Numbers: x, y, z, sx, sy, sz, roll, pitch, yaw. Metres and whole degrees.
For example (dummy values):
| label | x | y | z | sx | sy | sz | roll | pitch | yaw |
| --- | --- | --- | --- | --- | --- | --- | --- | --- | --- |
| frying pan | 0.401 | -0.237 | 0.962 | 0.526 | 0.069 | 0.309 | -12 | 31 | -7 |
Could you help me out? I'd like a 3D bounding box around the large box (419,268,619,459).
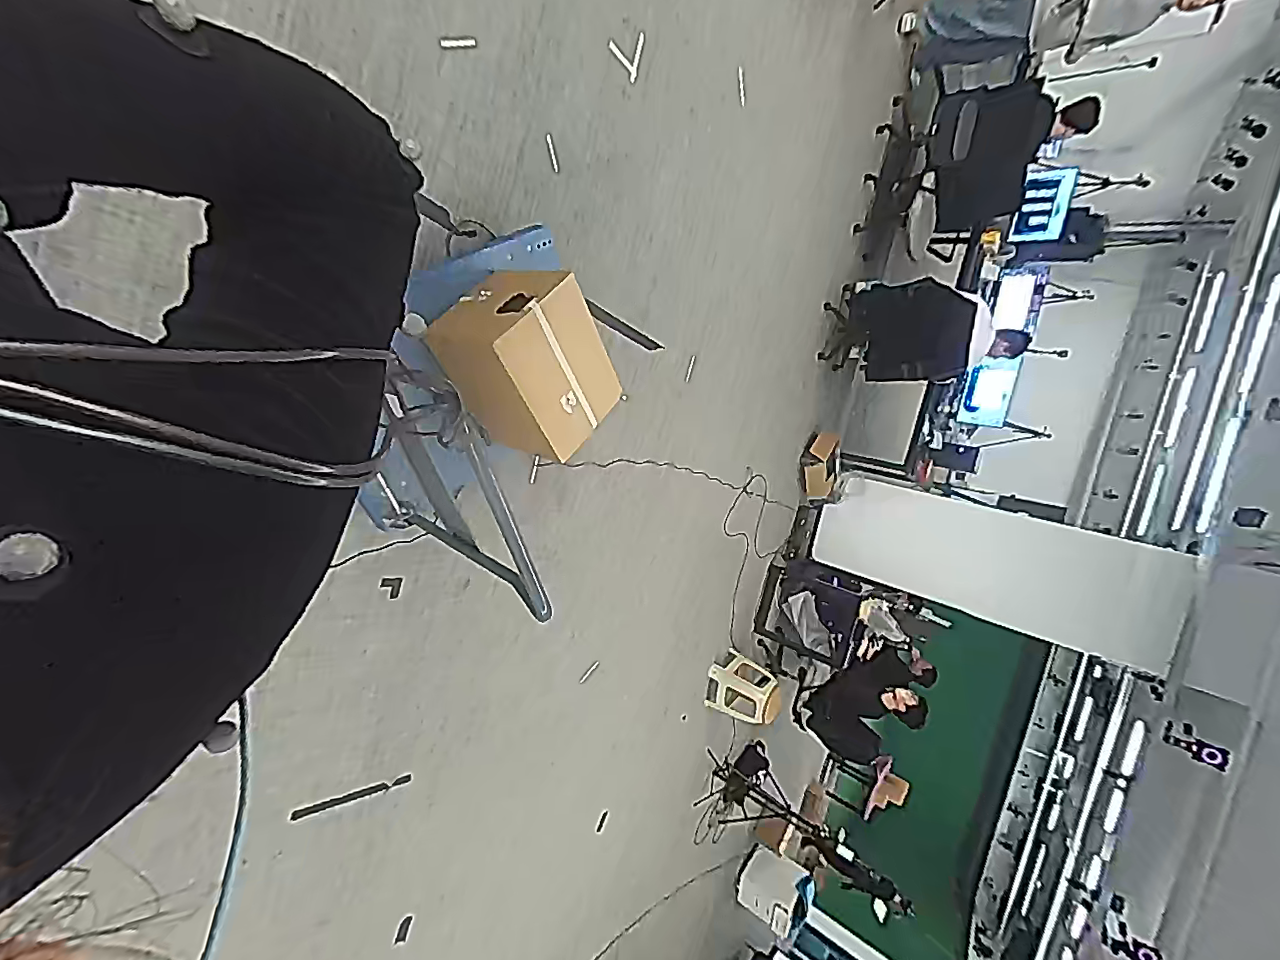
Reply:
| label | x | y | z | sx | sy | sz | roll | pitch | yaw |
| --- | --- | --- | --- | --- | --- | --- | --- | --- | --- |
| large box | -0.320 | -0.327 | 1.506 | 0.320 | 0.320 | 0.408 | -52 | 140 | -26 |
